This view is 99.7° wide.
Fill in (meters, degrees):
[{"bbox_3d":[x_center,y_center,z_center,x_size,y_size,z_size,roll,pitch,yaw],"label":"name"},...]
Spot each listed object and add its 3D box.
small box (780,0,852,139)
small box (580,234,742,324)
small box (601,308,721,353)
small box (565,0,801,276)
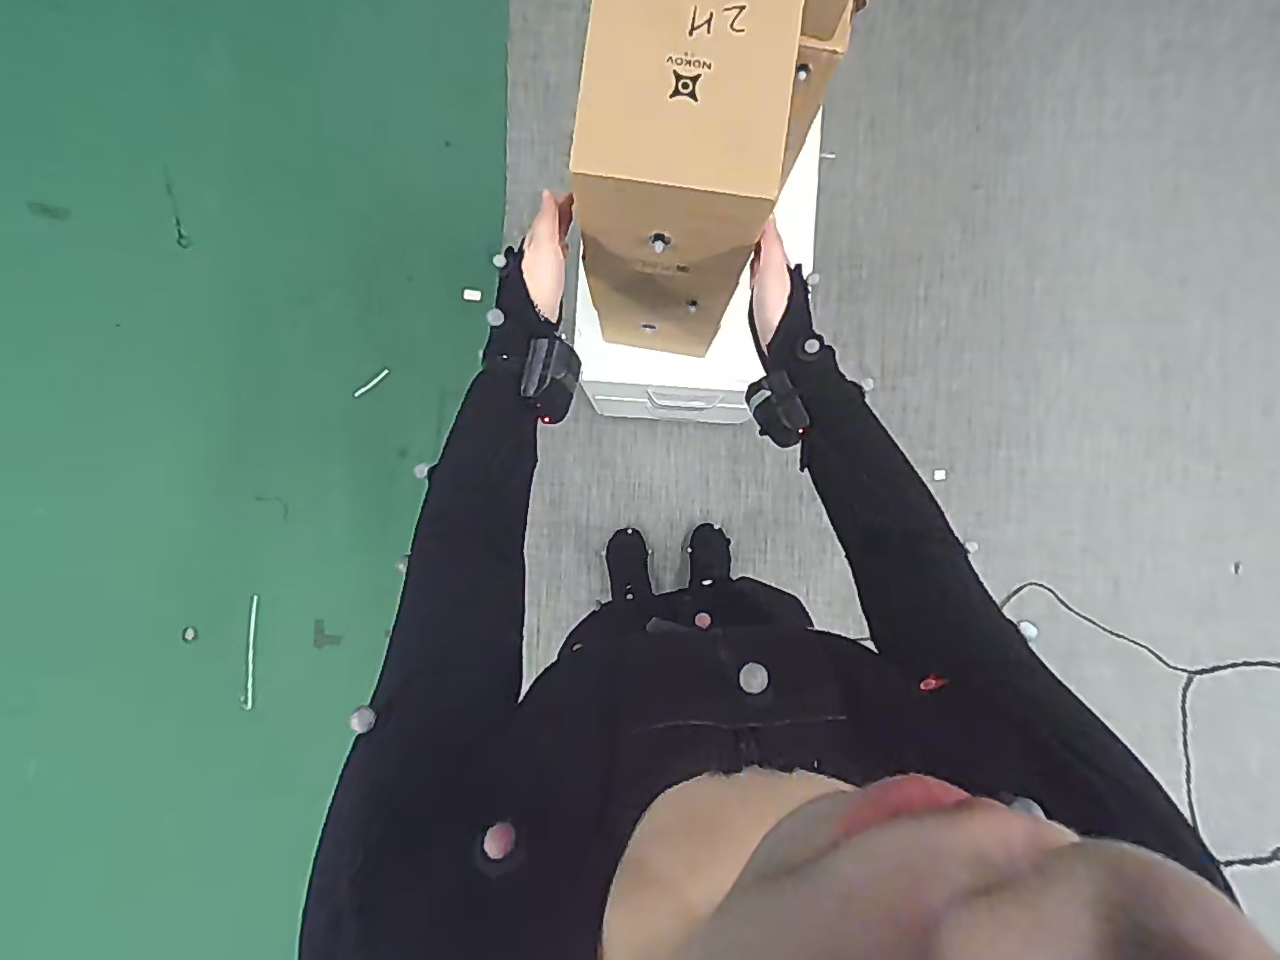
[{"bbox_3d":[0.150,-0.560,0.668,0.179,0.176,0.168,10,90,0],"label":"small box"},{"bbox_3d":[0.033,-0.304,0.665,0.179,0.176,0.168,9,88,1],"label":"small box"},{"bbox_3d":[0.035,-0.304,0.827,0.179,0.176,0.168,10,89,-1],"label":"small box"},{"bbox_3d":[0.034,-0.312,0.500,0.168,0.176,0.179,8,87,-1],"label":"small box"}]
